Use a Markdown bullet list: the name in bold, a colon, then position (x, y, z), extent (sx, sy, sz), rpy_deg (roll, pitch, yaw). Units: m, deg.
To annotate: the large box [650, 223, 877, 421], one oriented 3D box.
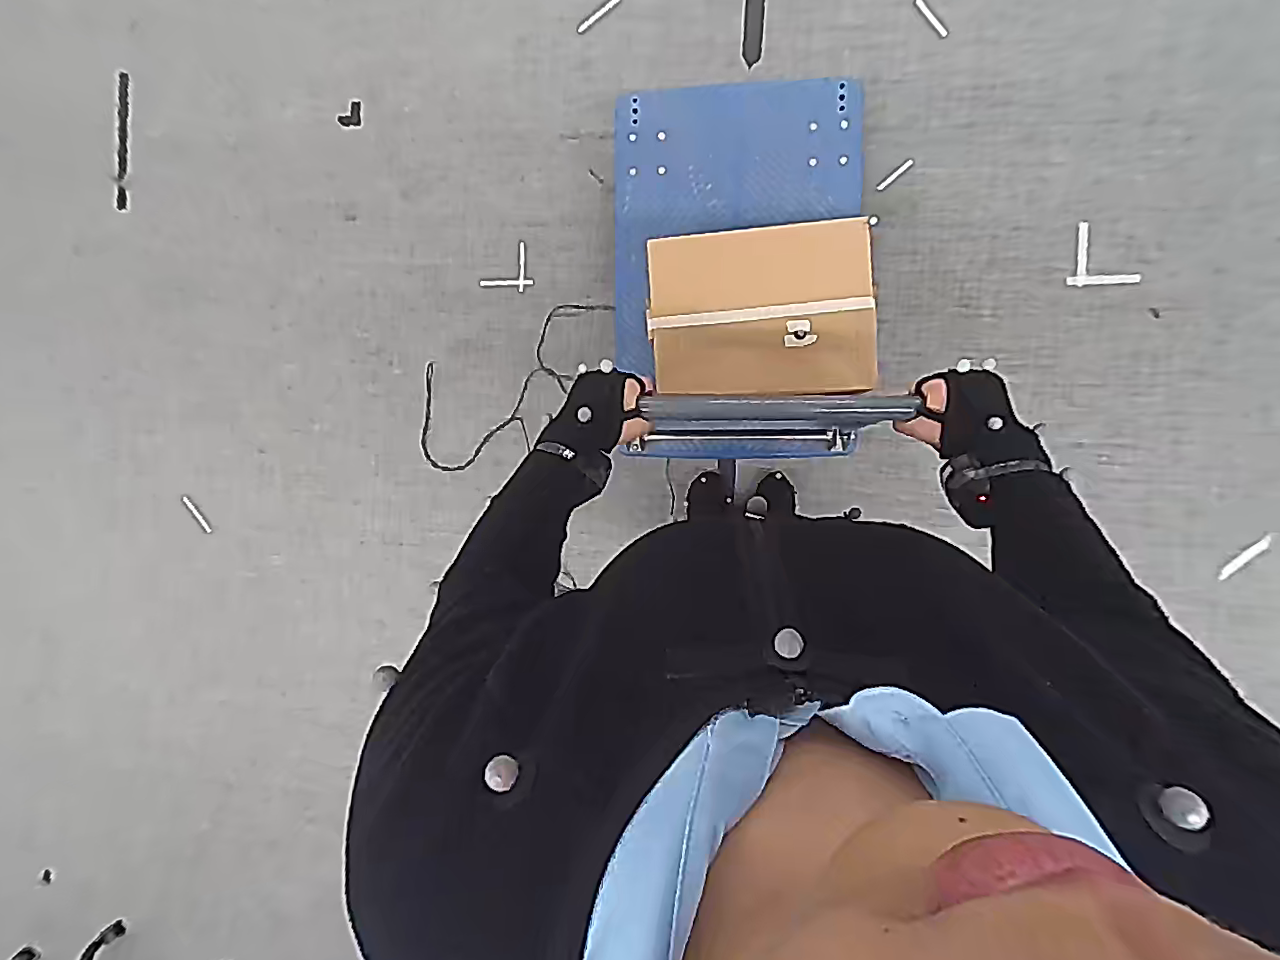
- **large box**: position (0.238, -0.307, 1.154), extent (0.408, 0.320, 0.320), rpy_deg (-4, 93, 4)
